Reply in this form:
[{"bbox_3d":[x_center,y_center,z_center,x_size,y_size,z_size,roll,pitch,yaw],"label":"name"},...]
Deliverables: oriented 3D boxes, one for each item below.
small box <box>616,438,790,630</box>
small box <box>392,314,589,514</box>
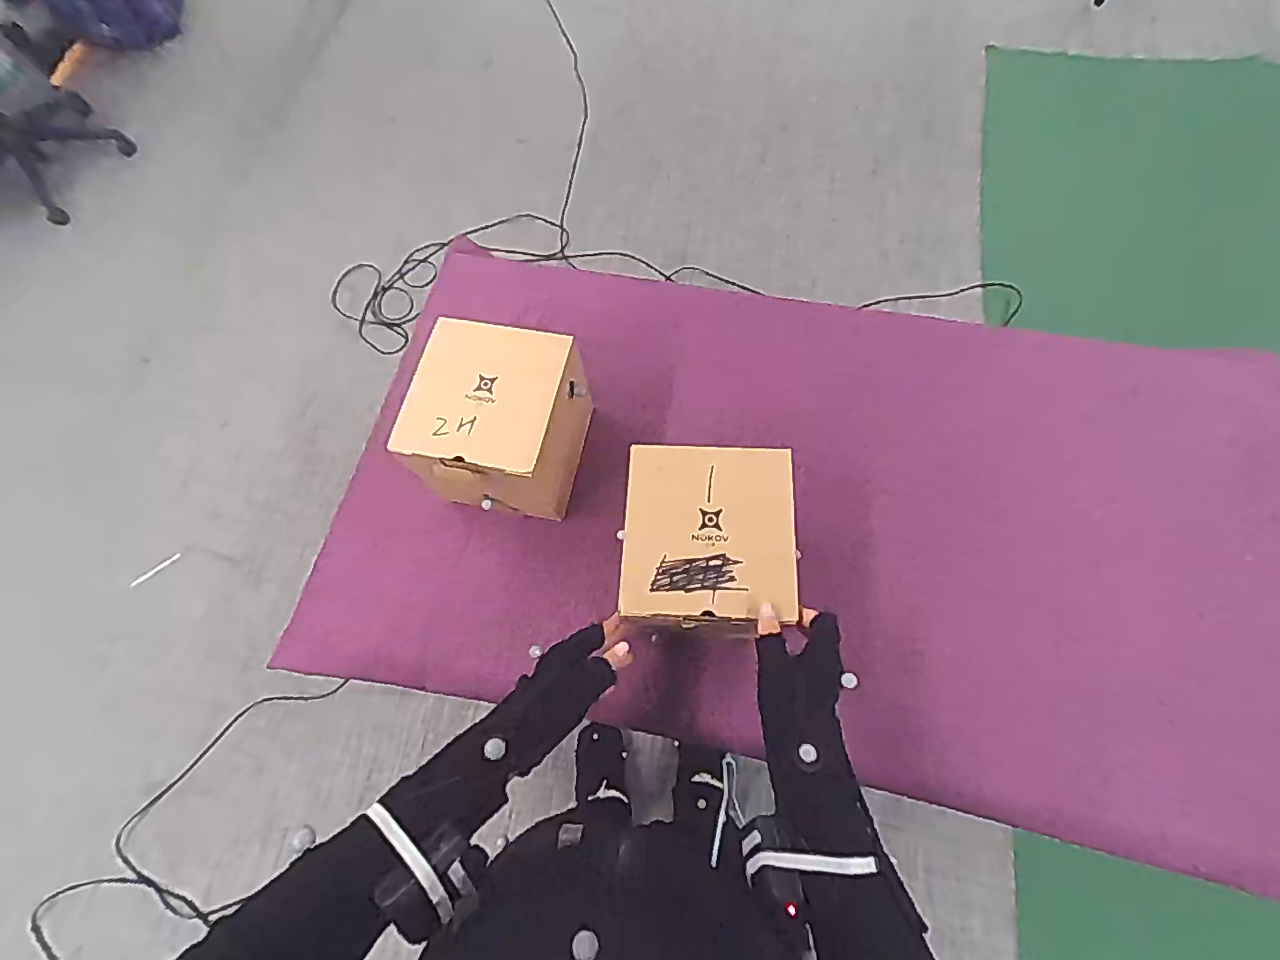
[{"bbox_3d":[0.070,0.069,0.604,0.168,0.176,0.179,2,69,5],"label":"small box"},{"bbox_3d":[-0.167,-0.074,0.672,0.168,0.176,0.179,10,71,8],"label":"small box"}]
